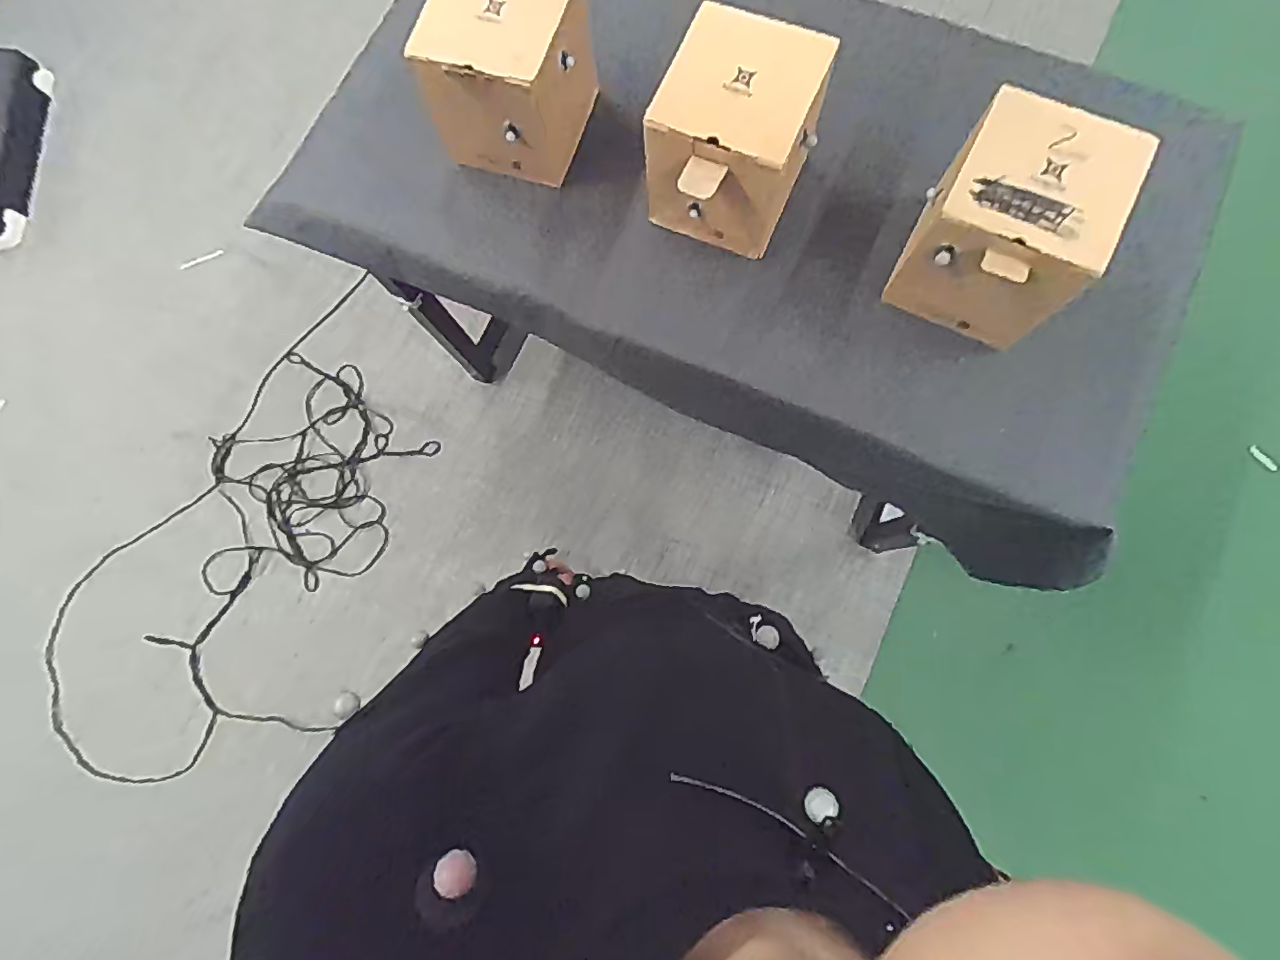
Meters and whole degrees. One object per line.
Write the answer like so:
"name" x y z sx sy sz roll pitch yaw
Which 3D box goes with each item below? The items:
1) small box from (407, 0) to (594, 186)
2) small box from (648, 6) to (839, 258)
"small box" -0.167 -0.530 0.715 0.168 0.176 0.179 17 79 6
"small box" 0.118 -0.419 0.674 0.168 0.176 0.179 23 81 8
